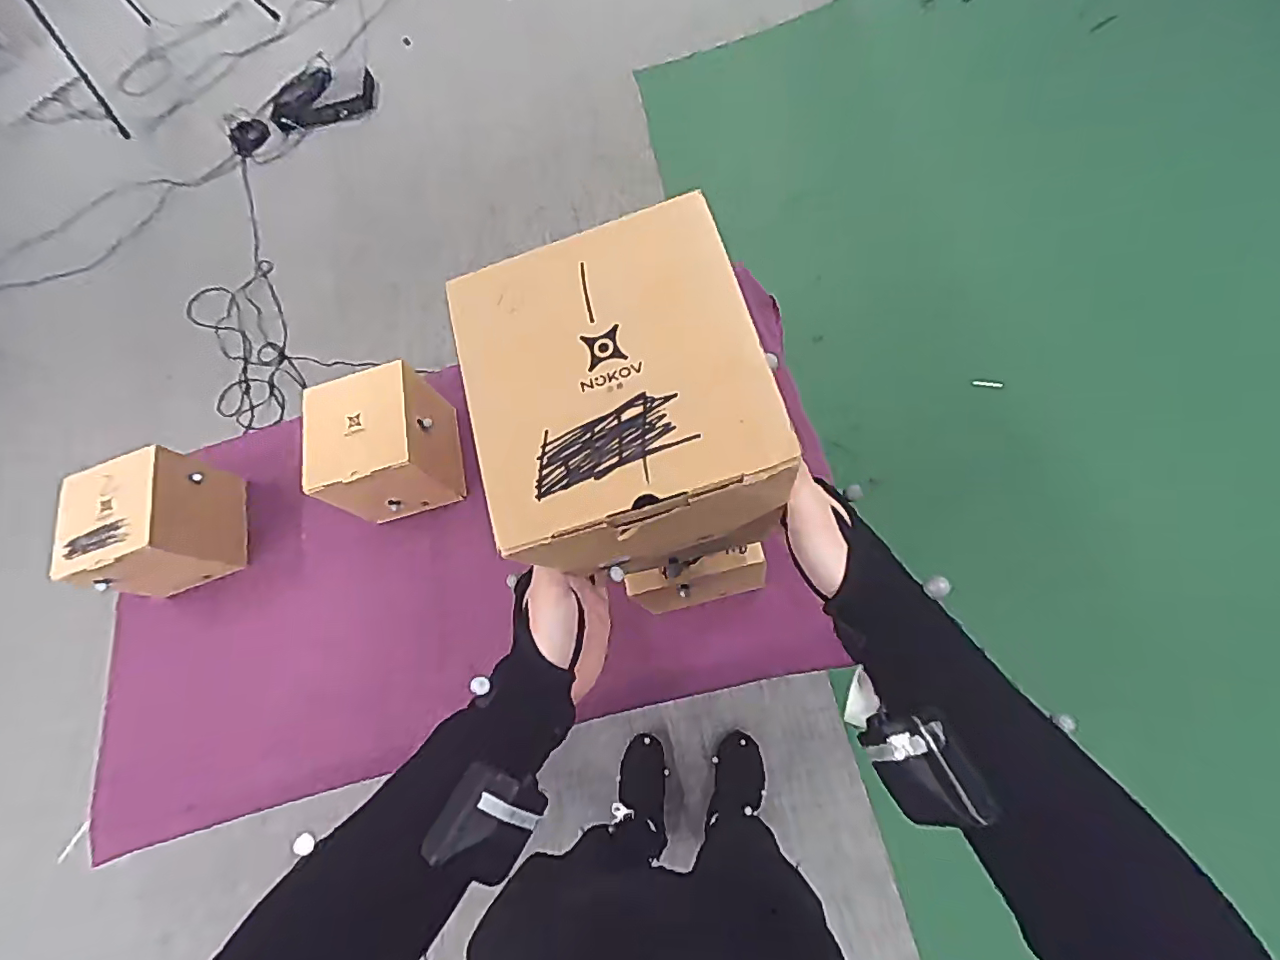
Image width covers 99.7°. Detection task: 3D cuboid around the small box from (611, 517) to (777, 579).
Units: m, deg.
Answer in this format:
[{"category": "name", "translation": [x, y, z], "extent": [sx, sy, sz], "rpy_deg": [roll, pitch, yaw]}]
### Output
[{"category": "small box", "translation": [0.025, -0.009, 0.533], "extent": [0.168, 0.176, 0.179], "rpy_deg": [-15, 74, 6]}]

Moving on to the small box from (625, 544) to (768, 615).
[{"category": "small box", "translation": [0.064, 0.067, 0.719], "extent": [0.168, 0.176, 0.179], "rpy_deg": [-15, 67, 6]}]

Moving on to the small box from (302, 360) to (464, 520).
[{"category": "small box", "translation": [-0.398, -0.055, 0.855], "extent": [0.168, 0.176, 0.179], "rpy_deg": [-15, 69, 5]}]

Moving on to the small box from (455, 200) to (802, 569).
[{"category": "small box", "translation": [-0.001, -0.042, 0.375], "extent": [0.168, 0.176, 0.179], "rpy_deg": [-17, 73, 5]}]
